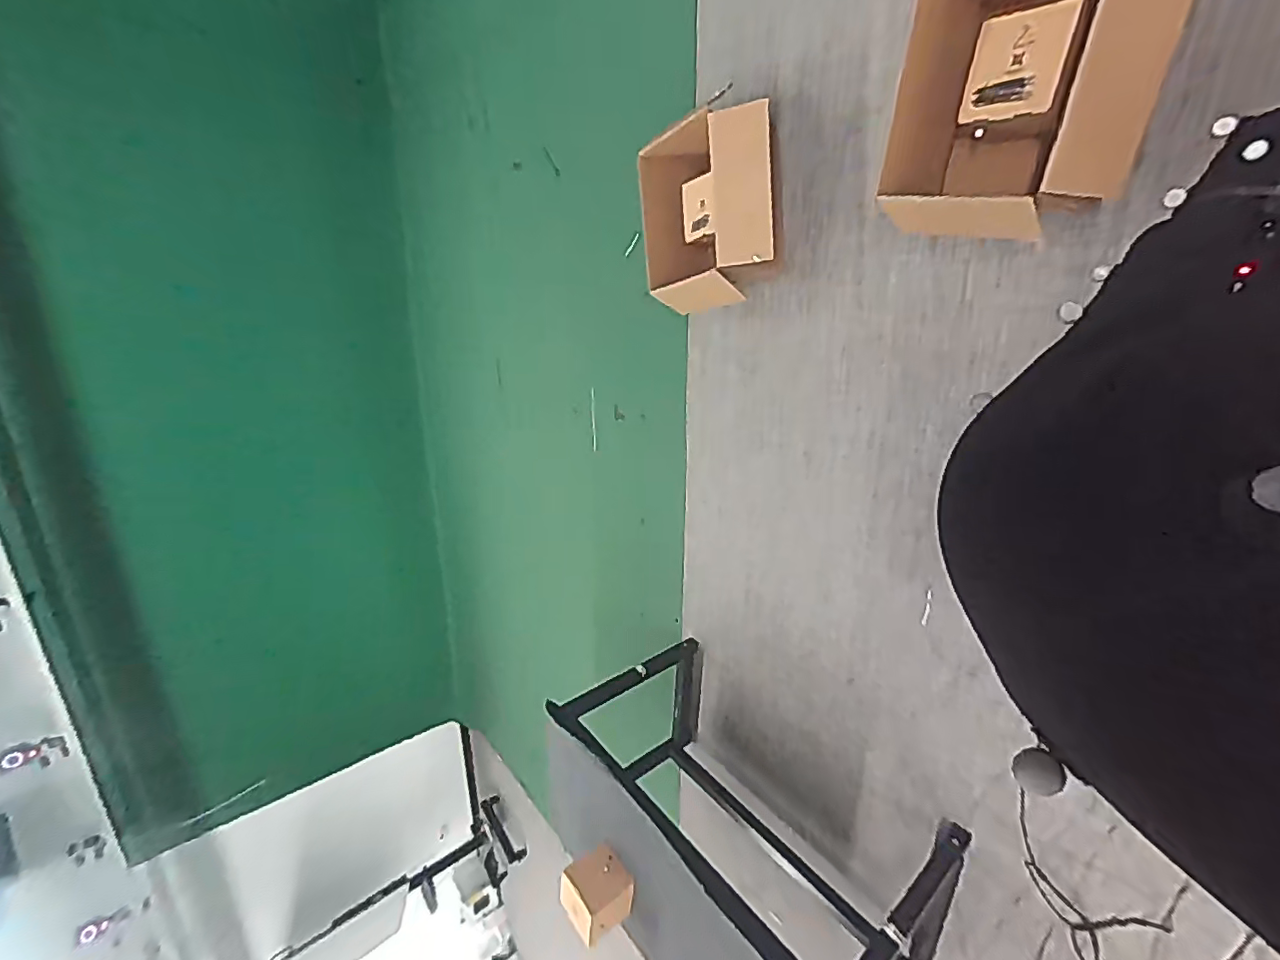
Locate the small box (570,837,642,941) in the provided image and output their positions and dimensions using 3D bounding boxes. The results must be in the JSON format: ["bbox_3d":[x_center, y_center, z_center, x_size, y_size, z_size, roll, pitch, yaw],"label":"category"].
[{"bbox_3d":[-0.110,1.316,1.749,0.168,0.176,0.179,32,124,43],"label":"small box"}]
